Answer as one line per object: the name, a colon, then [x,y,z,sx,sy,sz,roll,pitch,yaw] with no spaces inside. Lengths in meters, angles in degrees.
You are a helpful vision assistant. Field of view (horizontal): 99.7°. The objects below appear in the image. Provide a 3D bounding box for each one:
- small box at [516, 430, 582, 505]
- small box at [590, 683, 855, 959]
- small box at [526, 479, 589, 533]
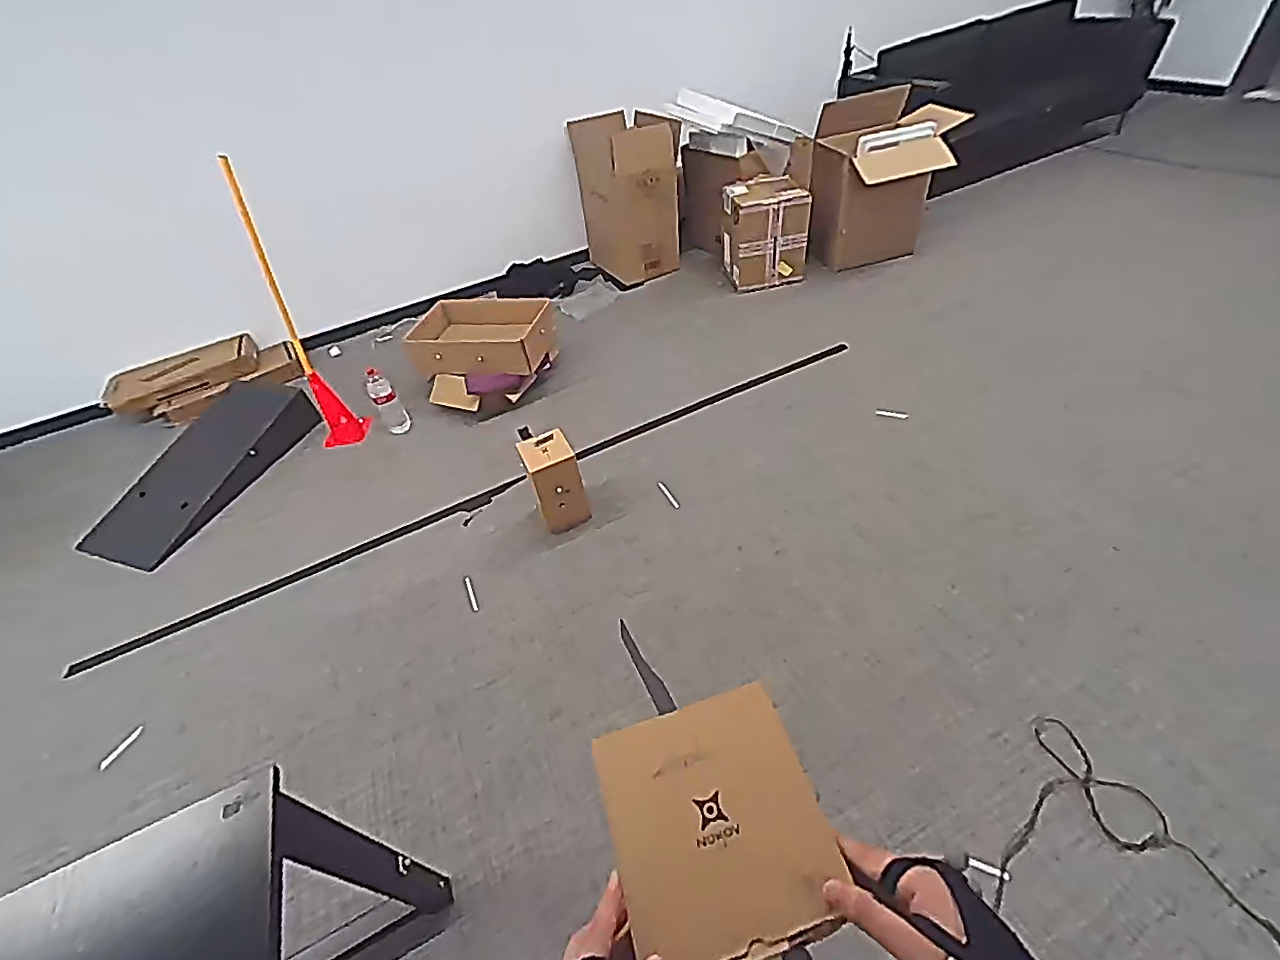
small box: [-0.321,-0.044,1.916,0.168,0.176,0.179,-23,47,-14]
small box: [0.064,0.322,0.489,0.168,0.176,0.179,-16,45,-7]
small box: [-0.308,0.070,2.034,0.179,0.176,0.168,-22,46,-14]
